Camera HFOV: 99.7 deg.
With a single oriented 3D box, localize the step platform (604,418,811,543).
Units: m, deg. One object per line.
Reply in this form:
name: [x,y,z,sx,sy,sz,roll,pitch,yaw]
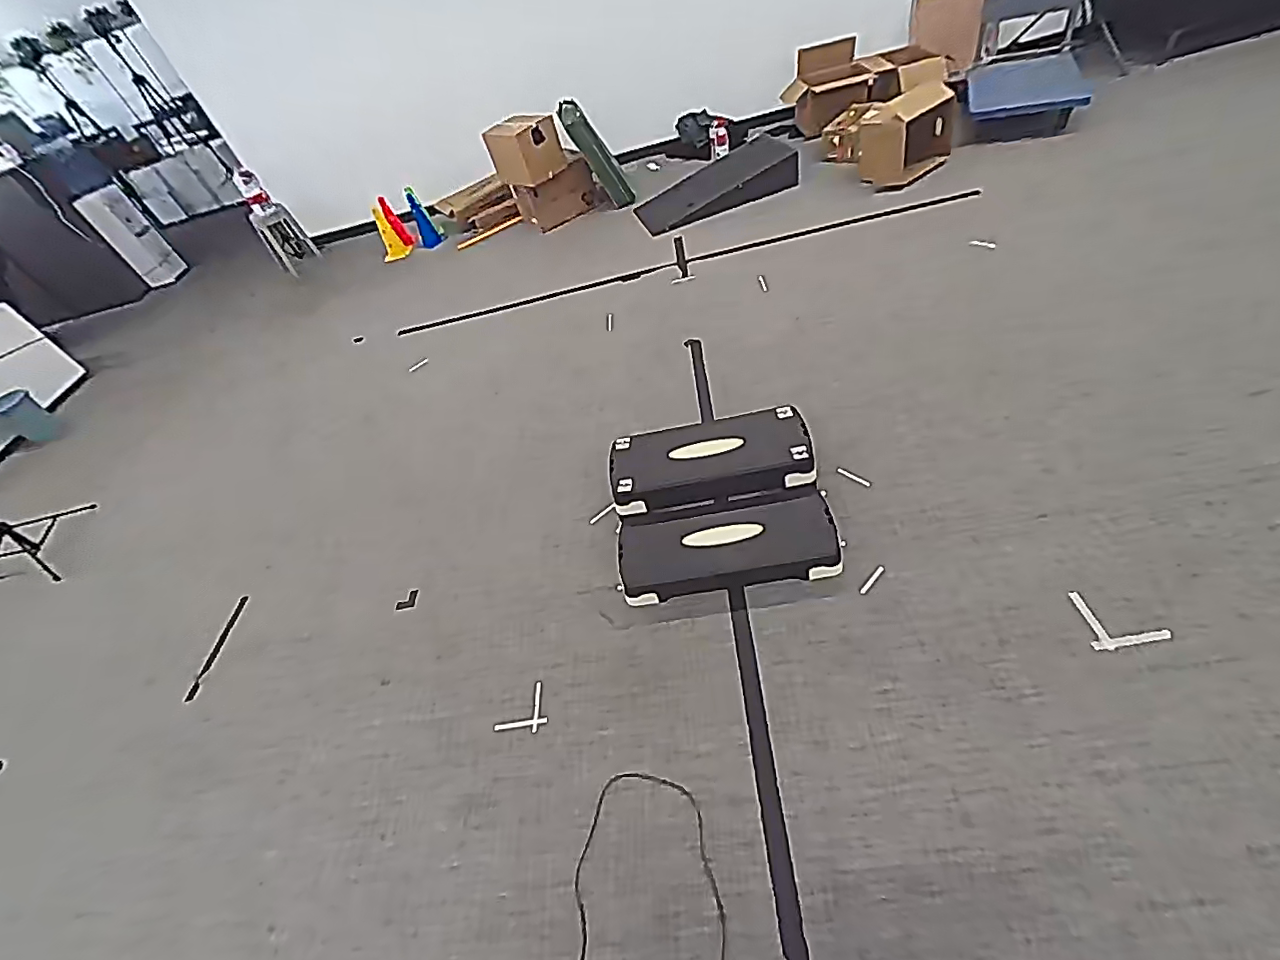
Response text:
step platform: [0.220,-0.002,1.842,0.684,0.204,0.286,-11,47,6]
